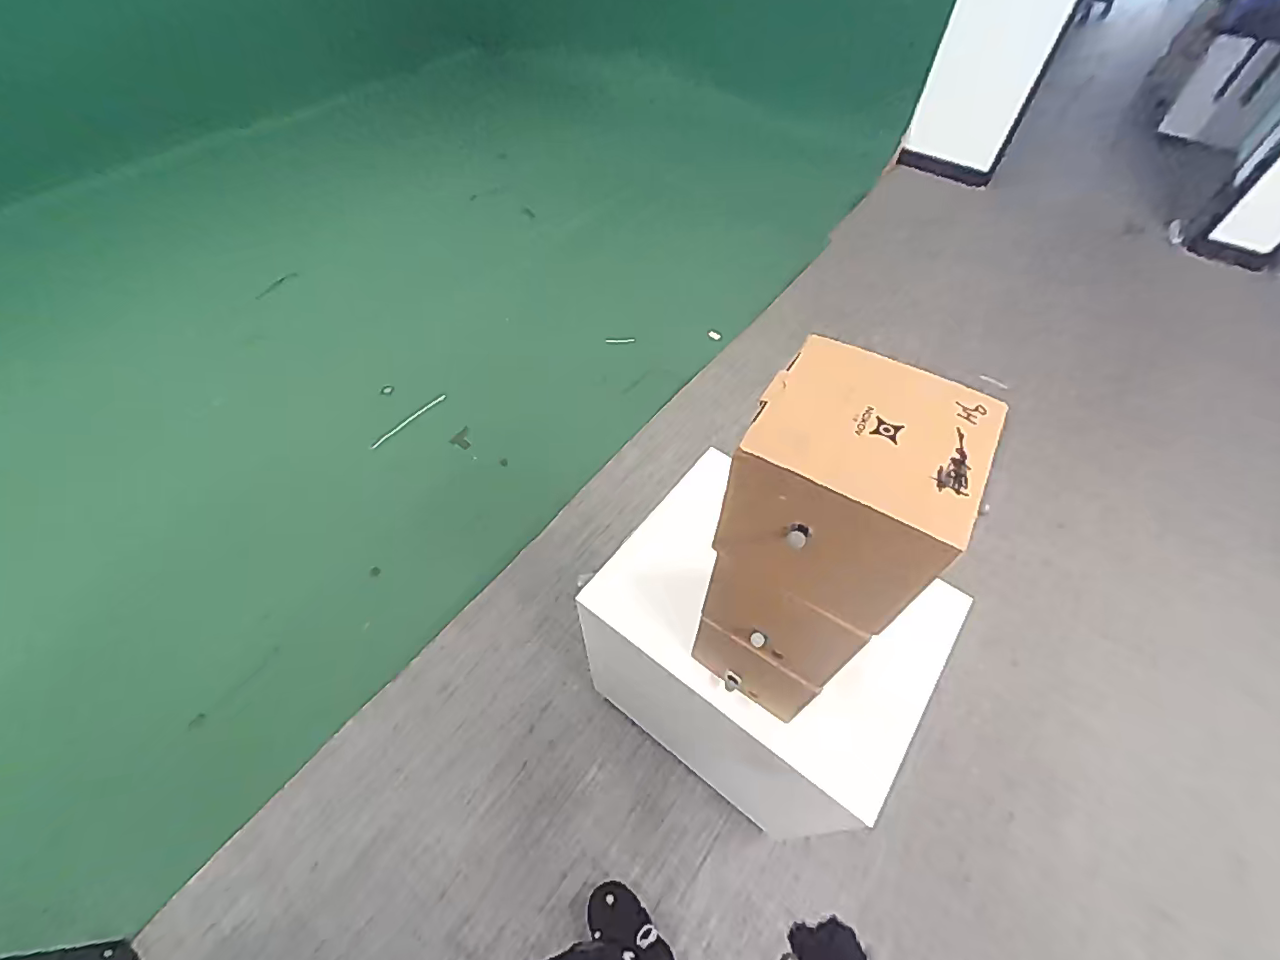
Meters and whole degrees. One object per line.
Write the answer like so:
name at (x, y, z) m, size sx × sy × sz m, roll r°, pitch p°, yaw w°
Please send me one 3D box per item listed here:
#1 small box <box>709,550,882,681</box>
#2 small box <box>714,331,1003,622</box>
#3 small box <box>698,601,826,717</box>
small box at (0.191, 0.096, 0.625) m, size 0.168 × 0.176 × 0.179 m, roll 27°, pitch 57°, yaw 18°
small box at (0.181, 0.001, 0.491) m, size 0.179 × 0.176 × 0.168 m, roll 26°, pitch 59°, yaw 19°
small box at (0.191, 0.196, 0.754) m, size 0.168 × 0.176 × 0.179 m, roll 29°, pitch 61°, yaw 20°
